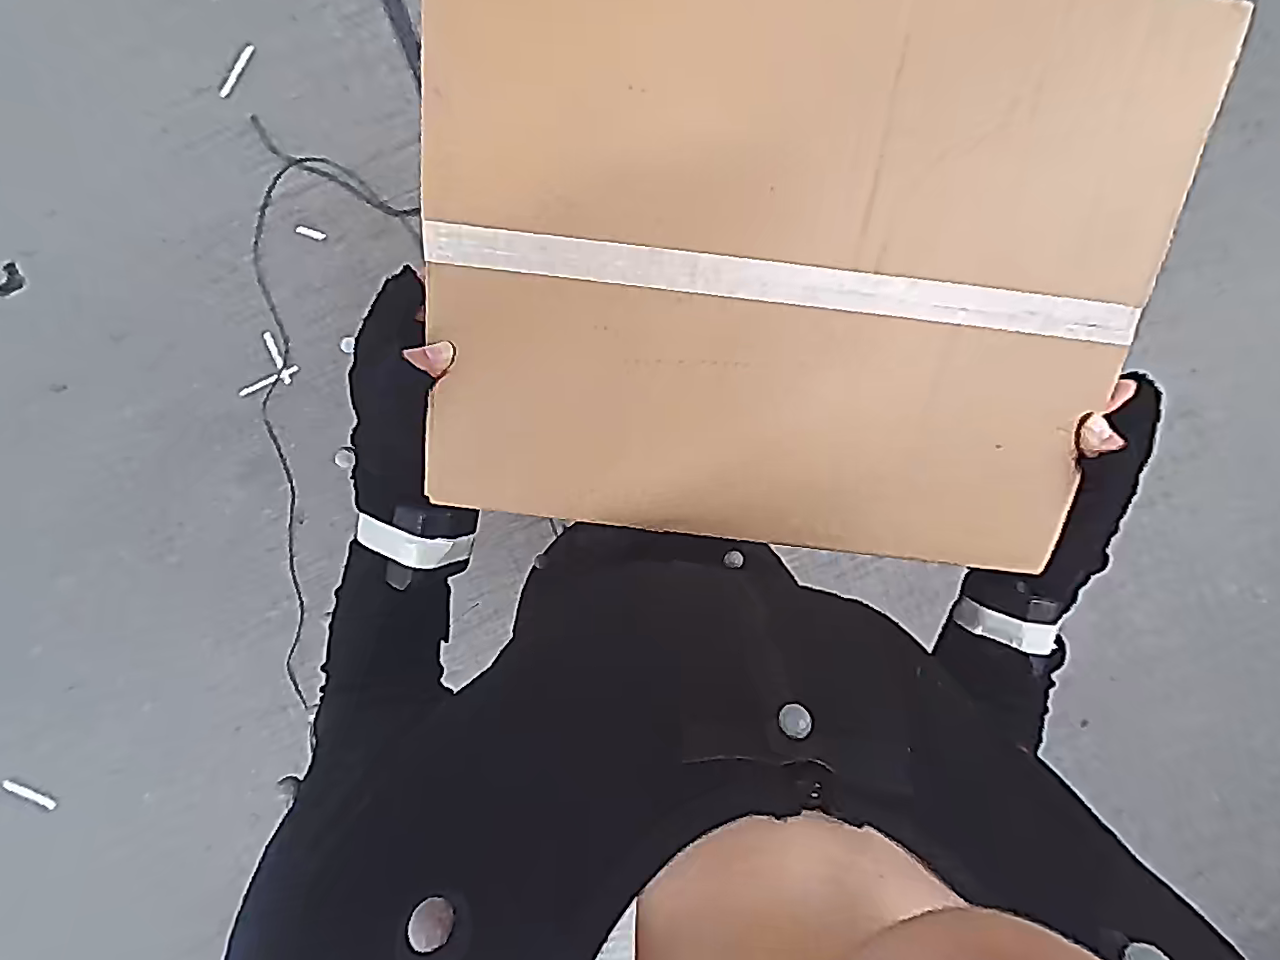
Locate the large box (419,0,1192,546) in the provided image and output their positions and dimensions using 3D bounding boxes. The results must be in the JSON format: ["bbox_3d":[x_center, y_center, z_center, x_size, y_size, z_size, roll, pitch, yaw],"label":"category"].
[{"bbox_3d":[0.072,-0.160,0.458,0.408,0.320,0.320,6,108,-1],"label":"large box"}]
